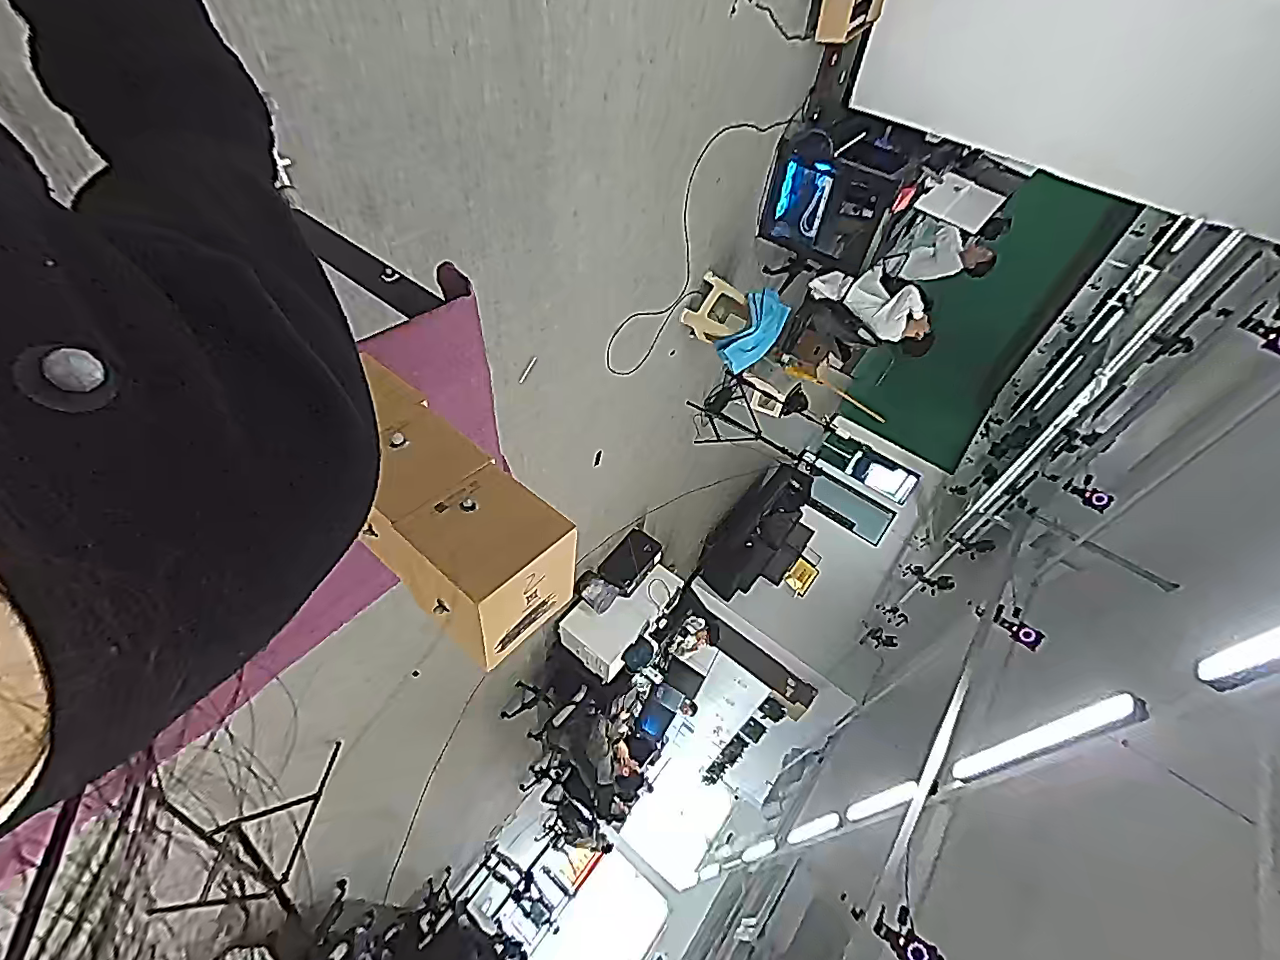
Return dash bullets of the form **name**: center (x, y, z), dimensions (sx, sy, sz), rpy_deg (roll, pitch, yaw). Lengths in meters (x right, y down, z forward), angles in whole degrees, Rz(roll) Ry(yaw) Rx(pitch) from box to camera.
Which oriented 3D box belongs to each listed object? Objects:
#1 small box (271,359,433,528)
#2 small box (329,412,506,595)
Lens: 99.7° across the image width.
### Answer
- **small box**: center (-0.449, -0.064, 0.862), dimensions (0.179, 0.176, 0.168), rpy_deg (-40, 155, -37)
- **small box**: center (-0.324, 0.030, 0.810), dimensions (0.168, 0.176, 0.179), rpy_deg (-40, 153, -36)
